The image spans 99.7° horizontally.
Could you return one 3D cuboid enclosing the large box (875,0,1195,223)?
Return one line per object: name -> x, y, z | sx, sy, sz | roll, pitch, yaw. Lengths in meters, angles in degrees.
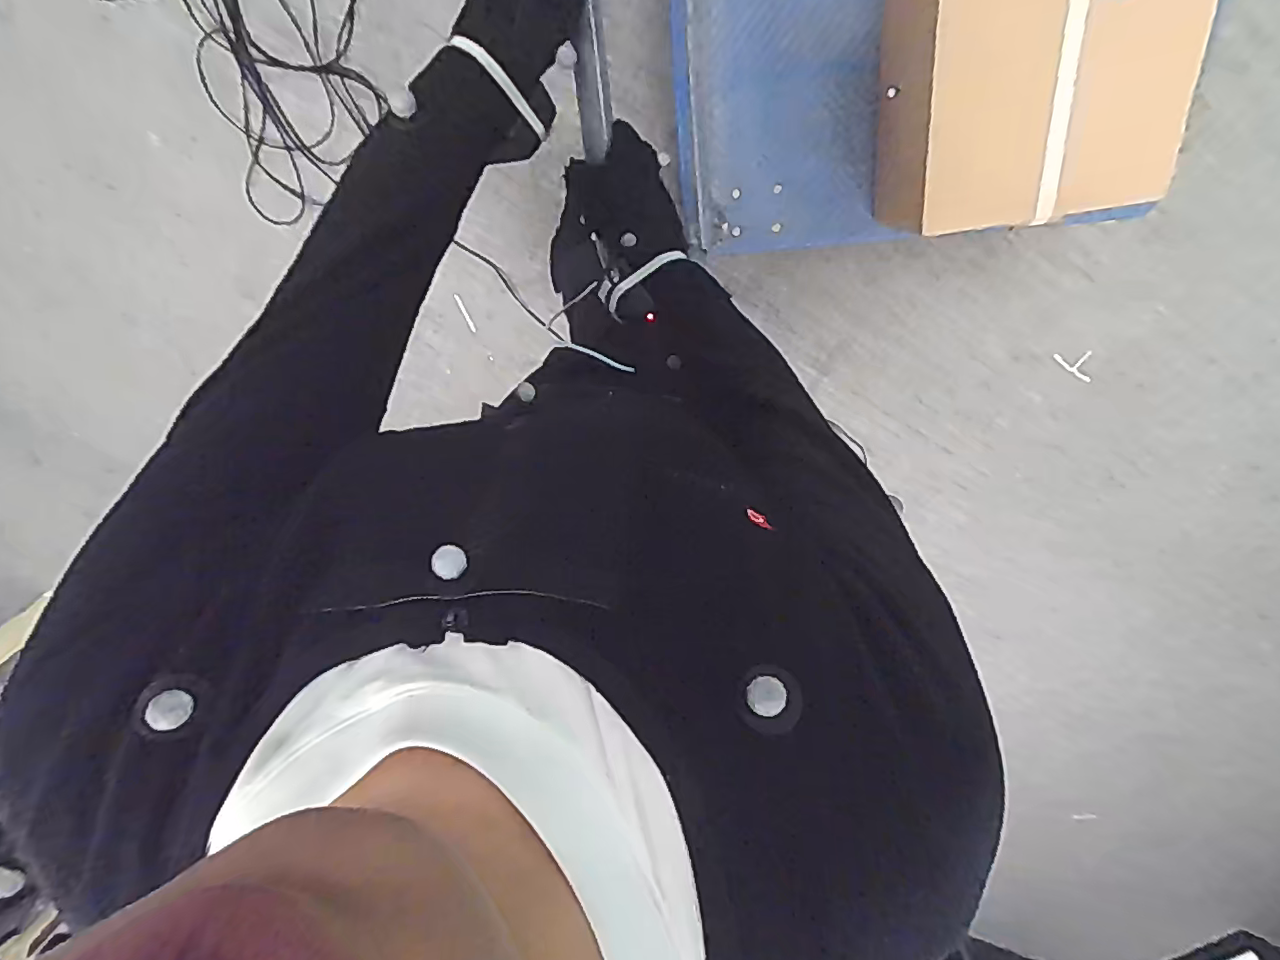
large box -> 0.552, -0.642, 0.819 | 0.320, 0.320, 0.408 | -5, 118, 12
